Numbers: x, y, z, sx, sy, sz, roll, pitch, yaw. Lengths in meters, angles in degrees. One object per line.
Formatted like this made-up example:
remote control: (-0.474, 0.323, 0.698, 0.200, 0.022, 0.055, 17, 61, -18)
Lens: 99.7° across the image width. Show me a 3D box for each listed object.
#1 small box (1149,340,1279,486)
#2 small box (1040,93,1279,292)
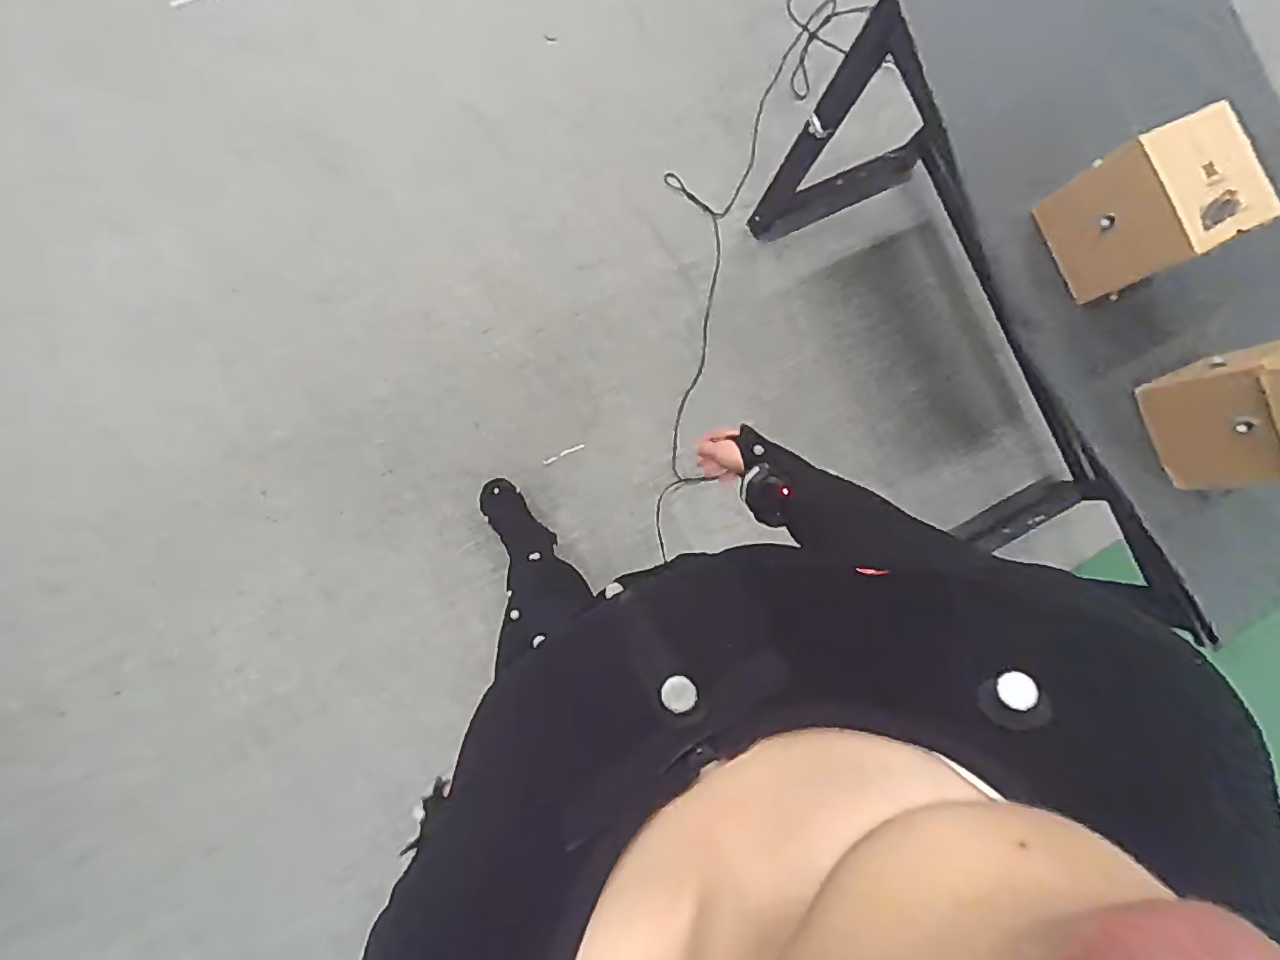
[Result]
small box: (0.909, -0.101, 0.785, 0.168, 0.176, 0.179, -23, 90, -8)
small box: (0.743, -0.398, 0.784, 0.168, 0.176, 0.179, -25, 88, -9)
